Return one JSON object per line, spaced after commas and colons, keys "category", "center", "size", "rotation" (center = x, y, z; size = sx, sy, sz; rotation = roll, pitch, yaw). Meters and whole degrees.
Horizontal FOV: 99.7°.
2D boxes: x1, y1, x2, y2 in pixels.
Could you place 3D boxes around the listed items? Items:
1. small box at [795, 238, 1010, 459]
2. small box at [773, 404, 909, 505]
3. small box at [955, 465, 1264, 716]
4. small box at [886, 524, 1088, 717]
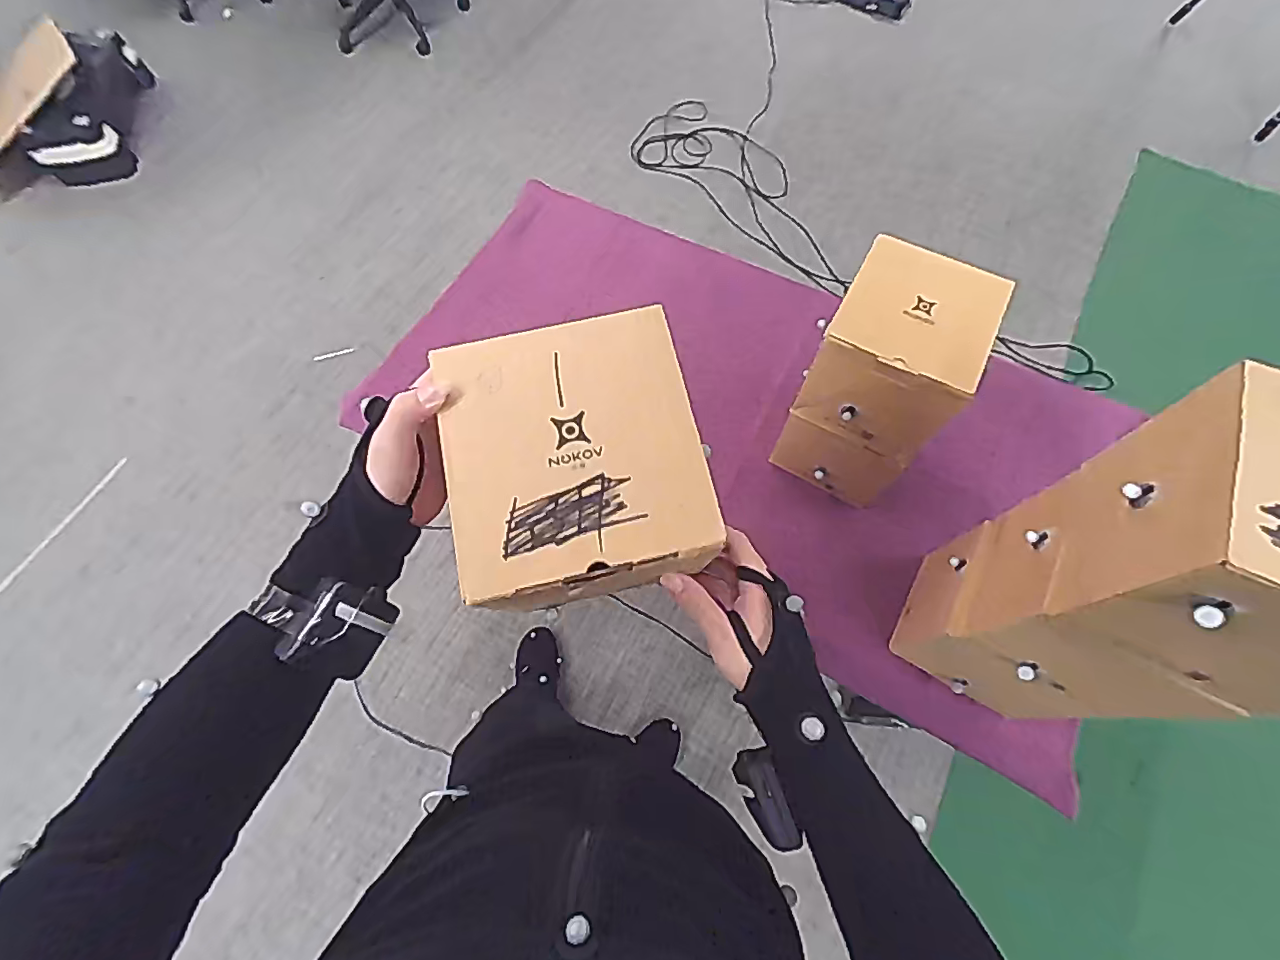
{"category": "small box", "center": [0.317, -0.159, 0.686], "size": [0.168, 0.176, 0.179], "rotation": [27, 71, 11]}
{"category": "small box", "center": [0.324, -0.092, 0.834], "size": [0.168, 0.176, 0.179], "rotation": [30, 71, 13]}
{"category": "small box", "center": [0.468, 0.121, 0.565], "size": [0.168, 0.176, 0.179], "rotation": [29, 70, 14]}
{"category": "small box", "center": [0.465, 0.189, 0.715], "size": [0.179, 0.176, 0.168], "rotation": [30, 69, 13]}
